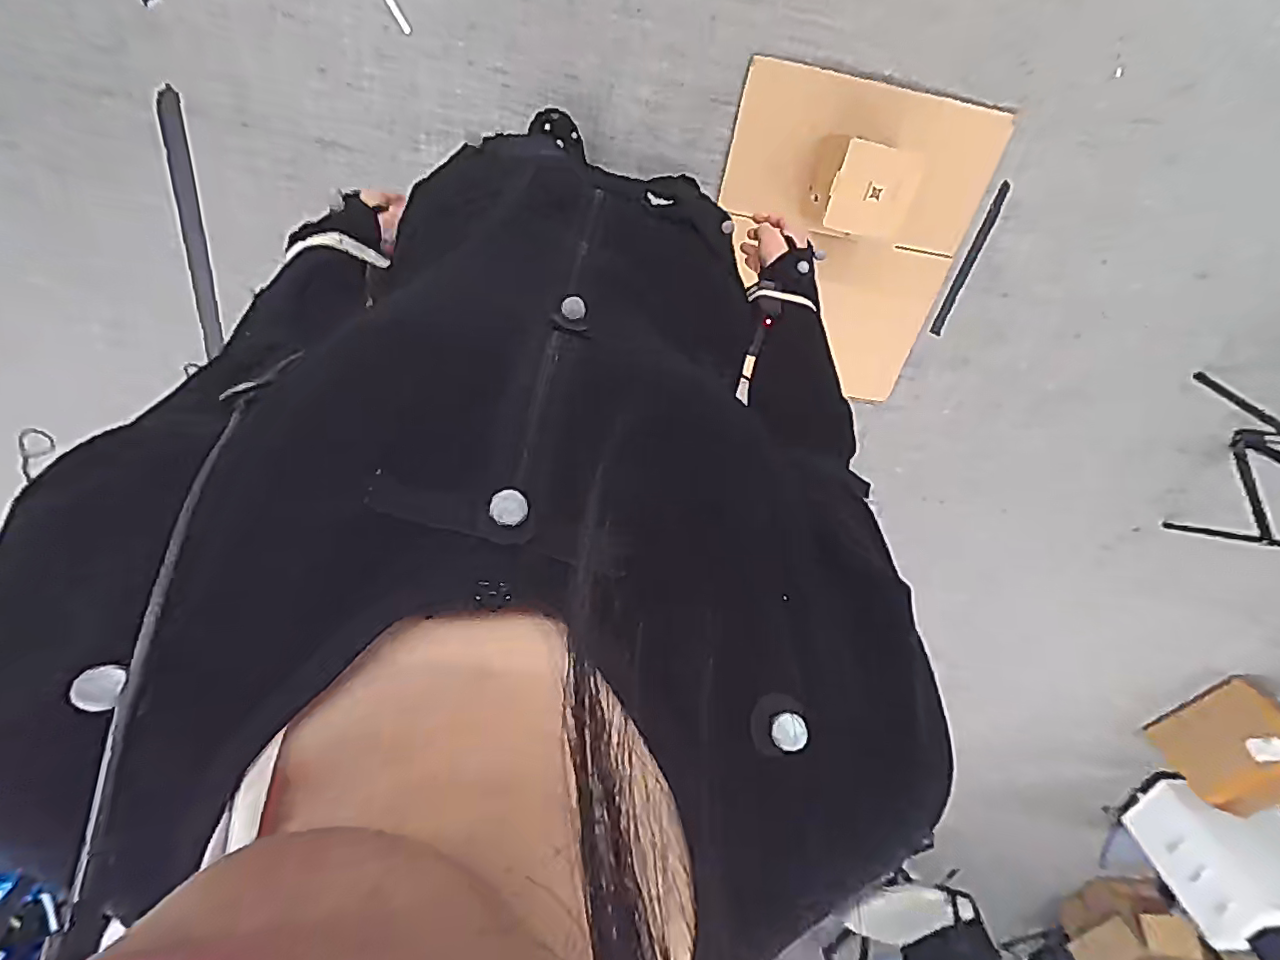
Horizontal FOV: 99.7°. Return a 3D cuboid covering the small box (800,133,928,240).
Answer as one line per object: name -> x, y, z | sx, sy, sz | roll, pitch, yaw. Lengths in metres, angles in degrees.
small box -> 0.470, -0.637, 1.170 | 0.179, 0.176, 0.168 | 8, 124, -8
